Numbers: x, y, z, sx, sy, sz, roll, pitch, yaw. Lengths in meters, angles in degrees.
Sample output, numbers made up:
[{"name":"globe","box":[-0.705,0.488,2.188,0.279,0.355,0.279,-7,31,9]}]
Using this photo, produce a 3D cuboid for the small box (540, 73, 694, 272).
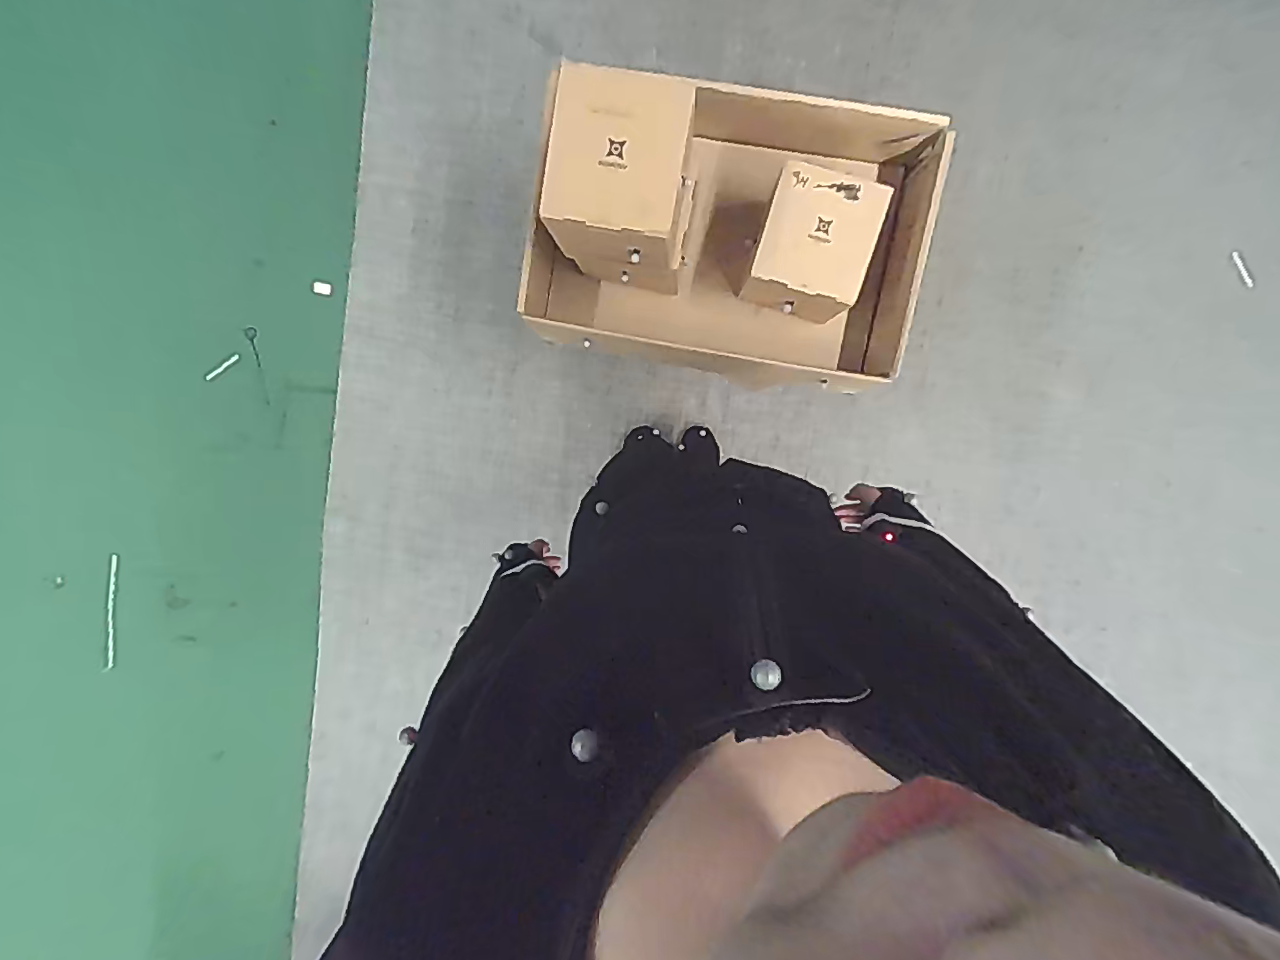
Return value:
[{"name":"small box","box":[-0.023,-0.400,0.735,0.168,0.176,0.179,11,96,3]}]
